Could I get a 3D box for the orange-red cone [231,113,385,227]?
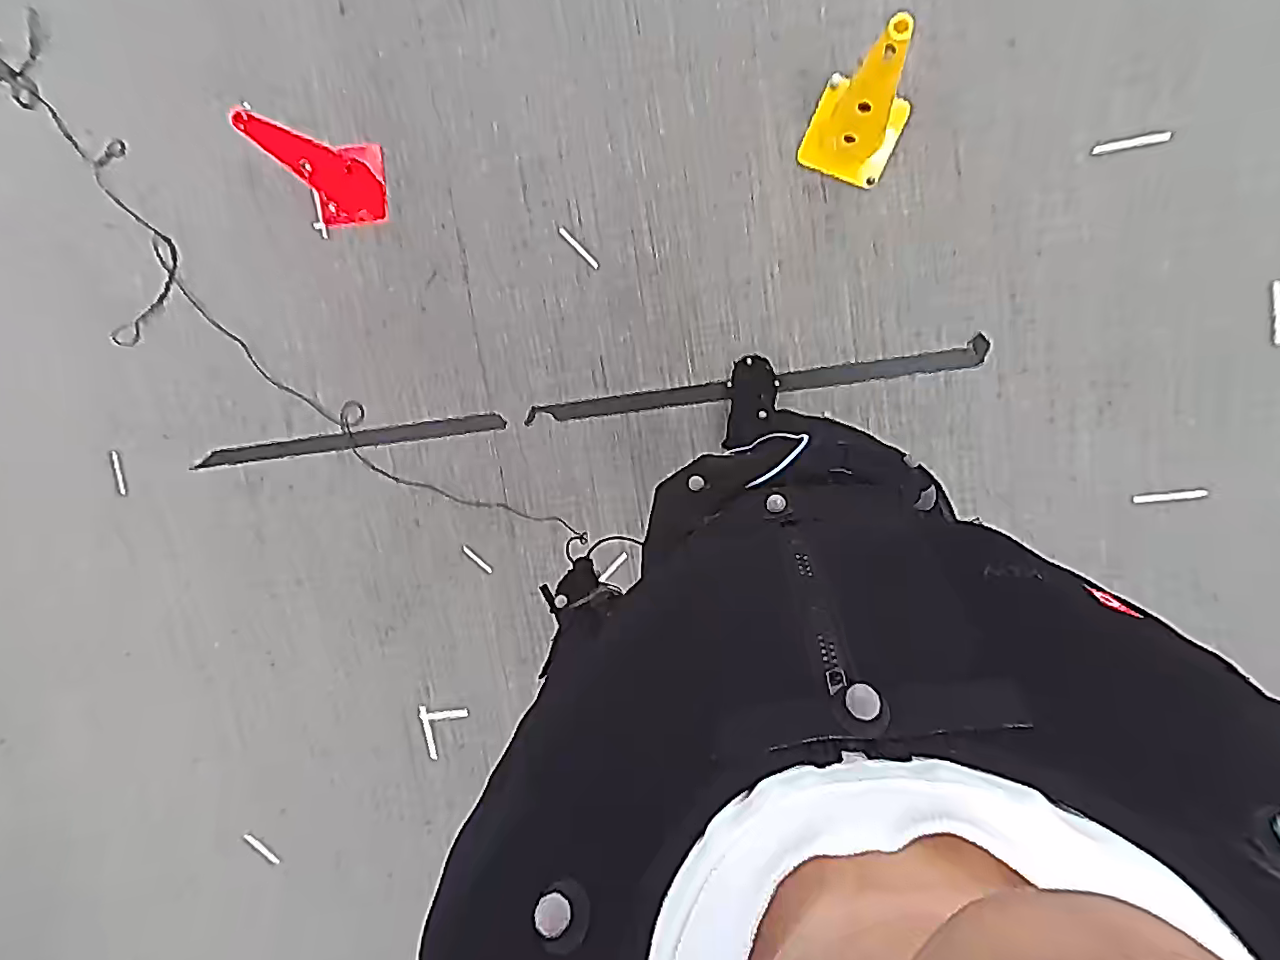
[{"bbox_3d":[-0.813,-0.773,1.303,0.199,0.360,0.198,0,97,8],"label":"orange-red cone"}]
